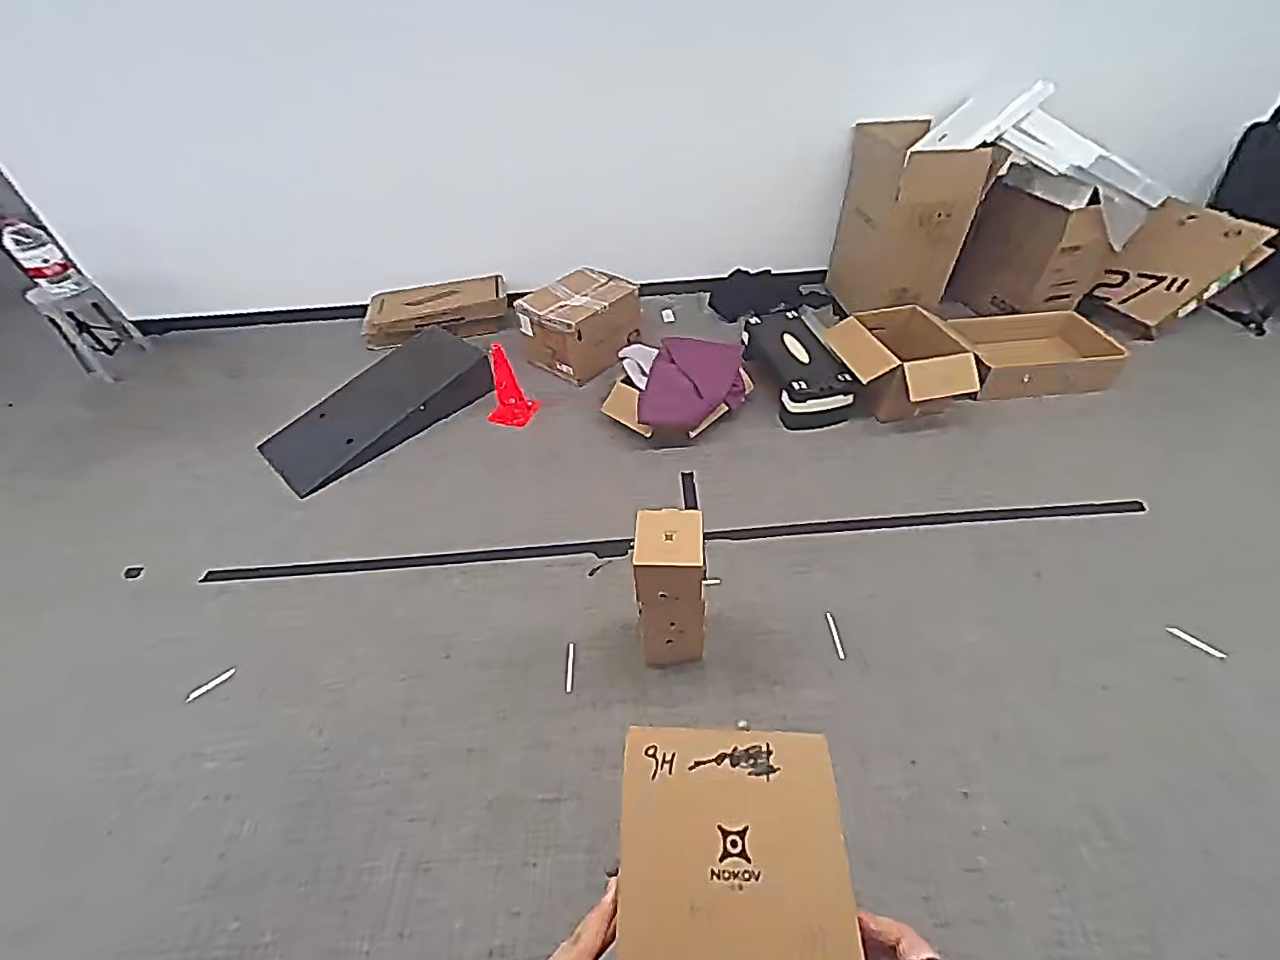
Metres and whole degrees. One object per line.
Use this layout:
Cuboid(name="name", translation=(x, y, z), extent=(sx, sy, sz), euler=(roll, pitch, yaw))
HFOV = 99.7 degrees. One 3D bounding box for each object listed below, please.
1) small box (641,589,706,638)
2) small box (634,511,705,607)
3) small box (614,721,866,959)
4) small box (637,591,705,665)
Cuboid(name="small box", translation=(0.086, 0.308, 1.473), extent=(0.168, 0.176, 0.179), euler=(-4, 45, 1))
Cuboid(name="small box", translation=(0.077, 0.197, 1.355), extent=(0.168, 0.176, 0.179), euler=(0, 45, 5))
Cuboid(name="small box", translation=(0.069, 0.316, 0.447), extent=(0.168, 0.176, 0.179), euler=(2, 52, 1))
Cuboid(name="small box", translation=(0.090, 0.426, 1.588), extent=(0.179, 0.176, 0.168), euler=(-6, 44, -2))
